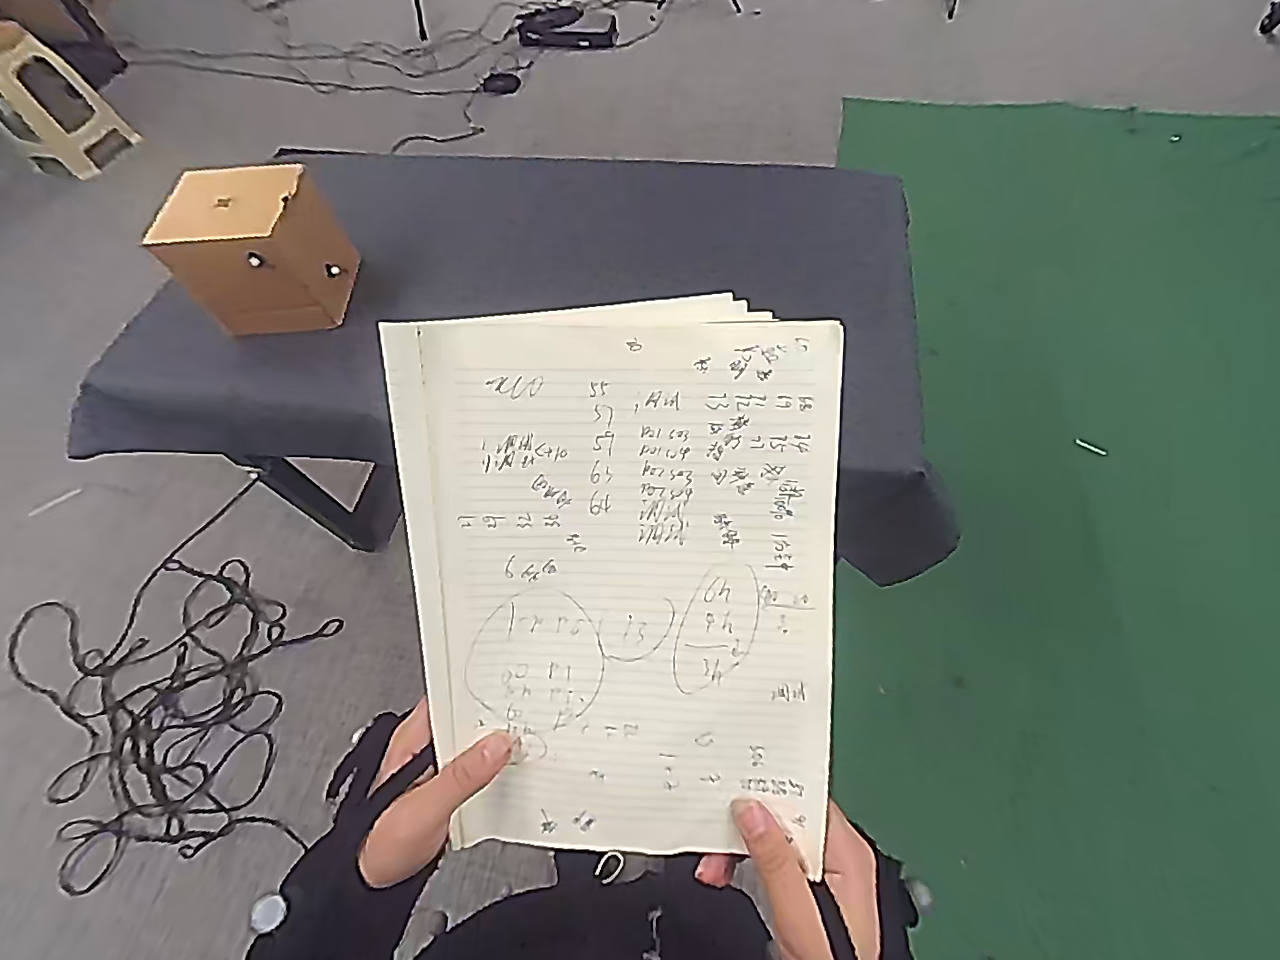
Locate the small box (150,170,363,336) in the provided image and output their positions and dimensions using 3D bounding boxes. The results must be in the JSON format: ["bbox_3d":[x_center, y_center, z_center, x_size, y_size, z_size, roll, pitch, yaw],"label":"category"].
[{"bbox_3d":[-0.559,-0.336,0.817,0.179,0.176,0.168,-4,59,1],"label":"small box"}]
